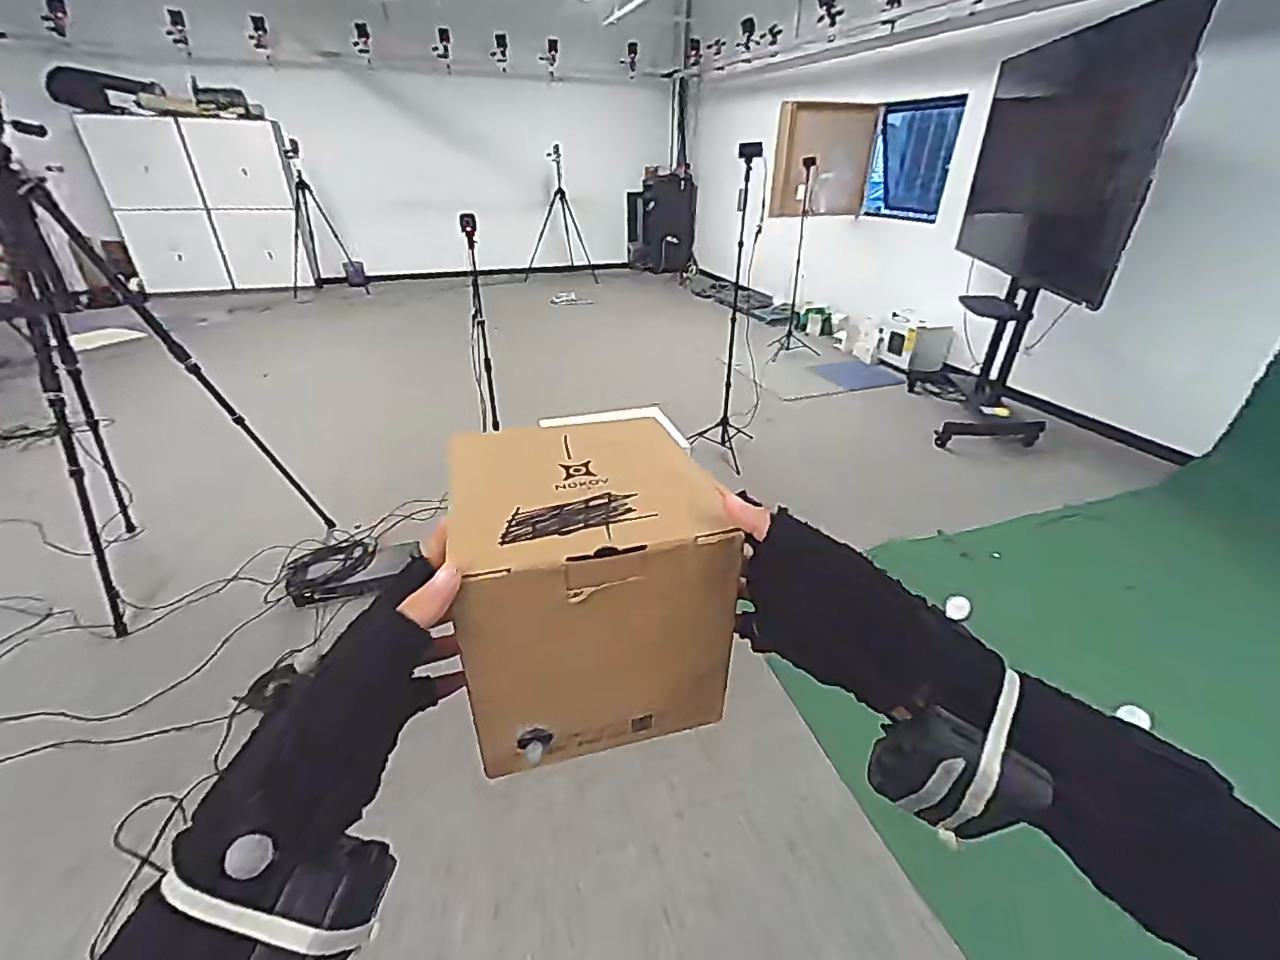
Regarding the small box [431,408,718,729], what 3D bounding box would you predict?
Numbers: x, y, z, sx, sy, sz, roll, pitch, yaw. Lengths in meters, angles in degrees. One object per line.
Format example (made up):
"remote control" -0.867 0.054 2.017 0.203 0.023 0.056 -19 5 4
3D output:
"small box" -0.052 0.060 0.408 0.168 0.176 0.179 -7 29 -14
